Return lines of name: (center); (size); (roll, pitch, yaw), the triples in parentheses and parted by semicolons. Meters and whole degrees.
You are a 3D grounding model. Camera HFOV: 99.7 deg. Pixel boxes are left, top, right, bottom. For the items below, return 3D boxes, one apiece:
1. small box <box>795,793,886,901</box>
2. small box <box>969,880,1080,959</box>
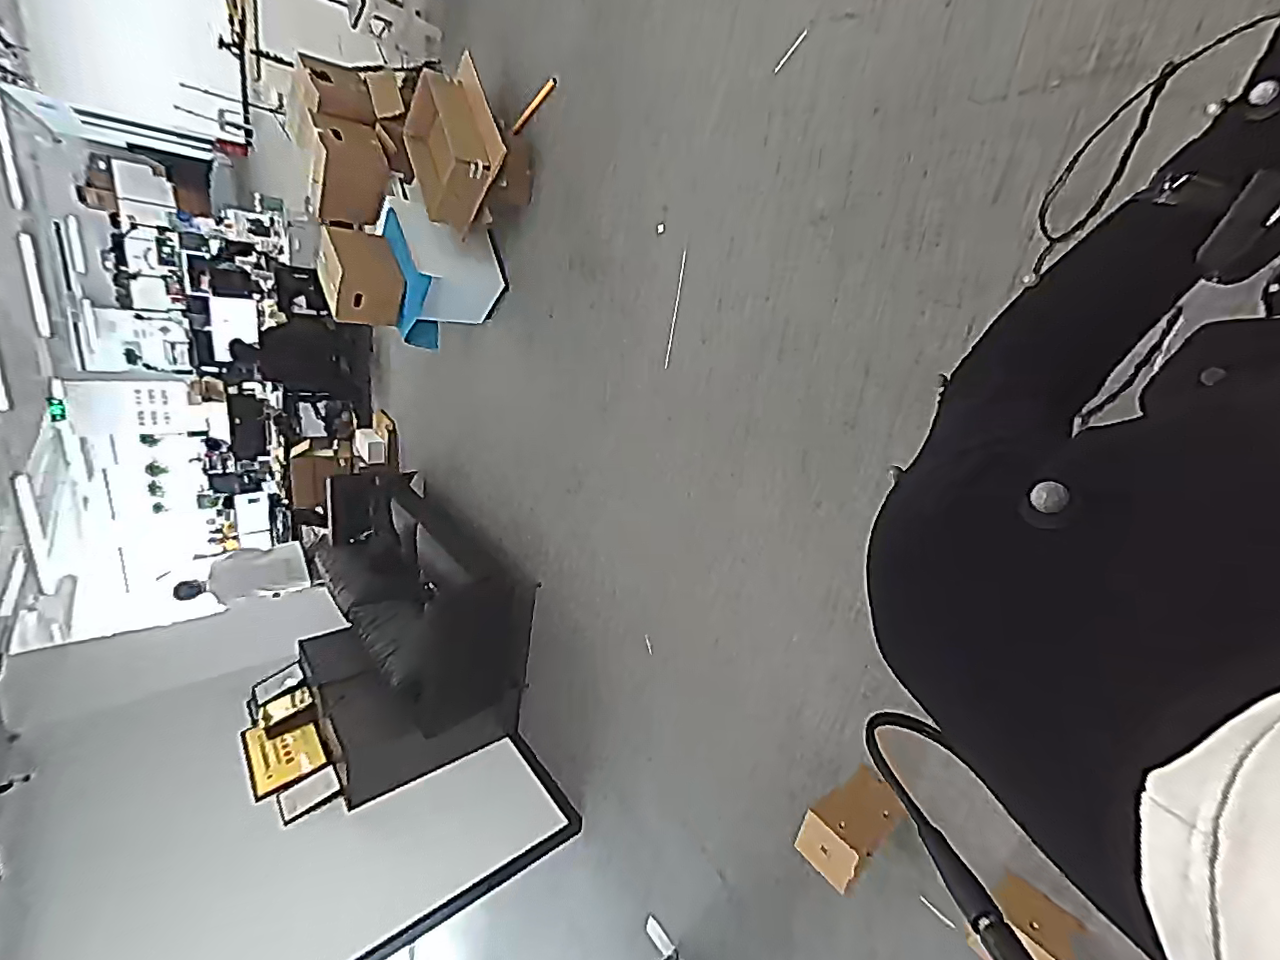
small box: (0.608, 1.099, 1.634); (0.179, 0.176, 0.168); (31, 118, 43)
small box: (1.020, 1.225, 1.432); (0.179, 0.176, 0.168); (29, 117, 44)
